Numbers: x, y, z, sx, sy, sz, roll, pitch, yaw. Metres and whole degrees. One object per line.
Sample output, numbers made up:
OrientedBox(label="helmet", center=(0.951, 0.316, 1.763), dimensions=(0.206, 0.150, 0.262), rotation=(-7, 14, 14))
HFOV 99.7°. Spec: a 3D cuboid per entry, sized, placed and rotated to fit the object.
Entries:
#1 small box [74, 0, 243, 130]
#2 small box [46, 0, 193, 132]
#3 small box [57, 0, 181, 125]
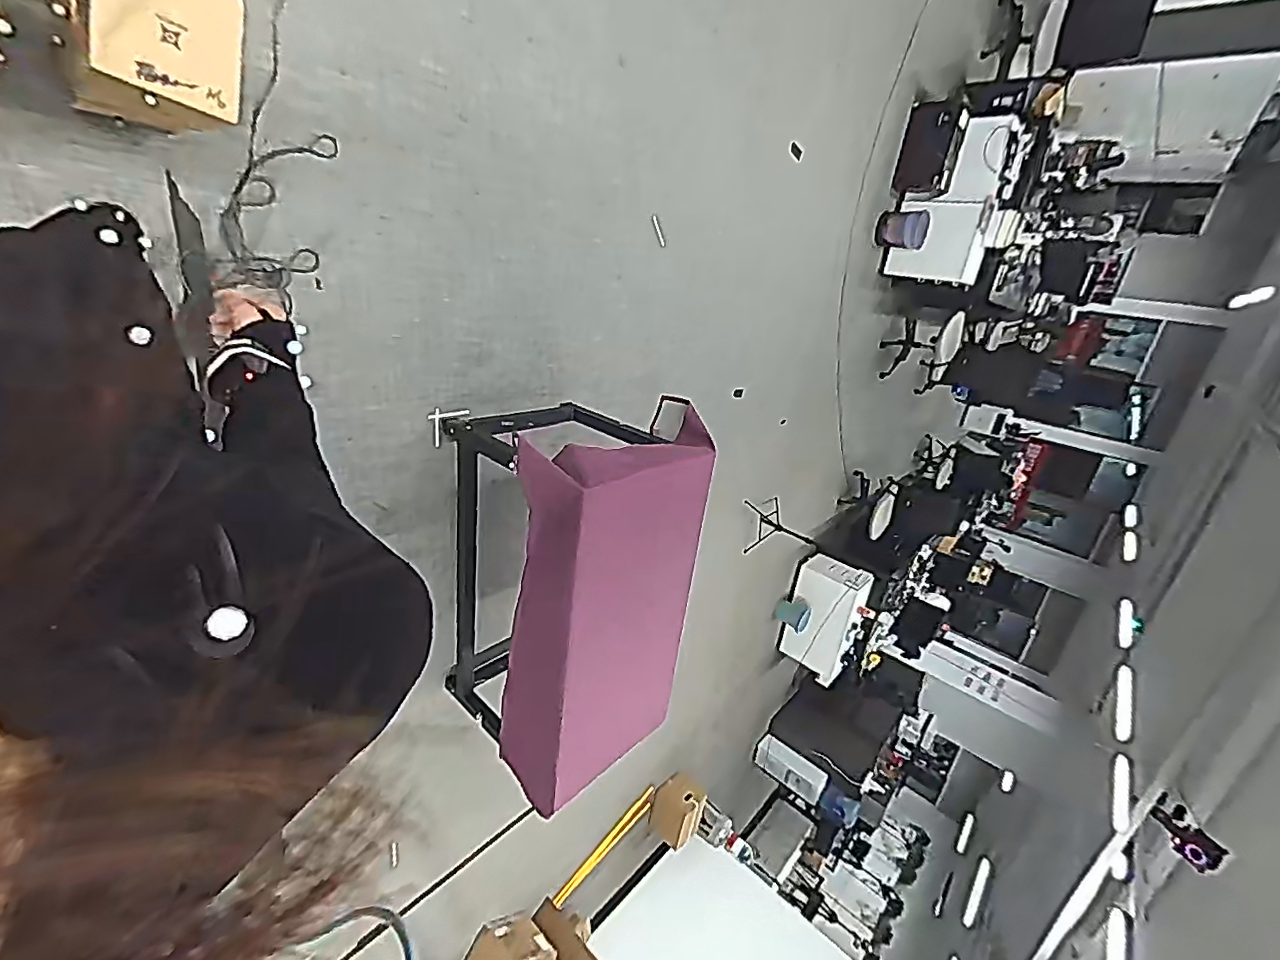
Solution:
OrientedBox(label="small box", center=(-0.726, -0.660, 0.814), dimensions=(0.168, 0.176, 0.179), rotation=(-3, 111, -50))
OrientedBox(label="small box", center=(-0.965, -0.772, 1.006), dimensions=(0.168, 0.176, 0.179), rotation=(-14, 121, -47))
OrientedBox(label="small box", center=(-0.845, -0.717, 0.912), dimensions=(0.179, 0.176, 0.168), rotation=(-13, 119, -47))
